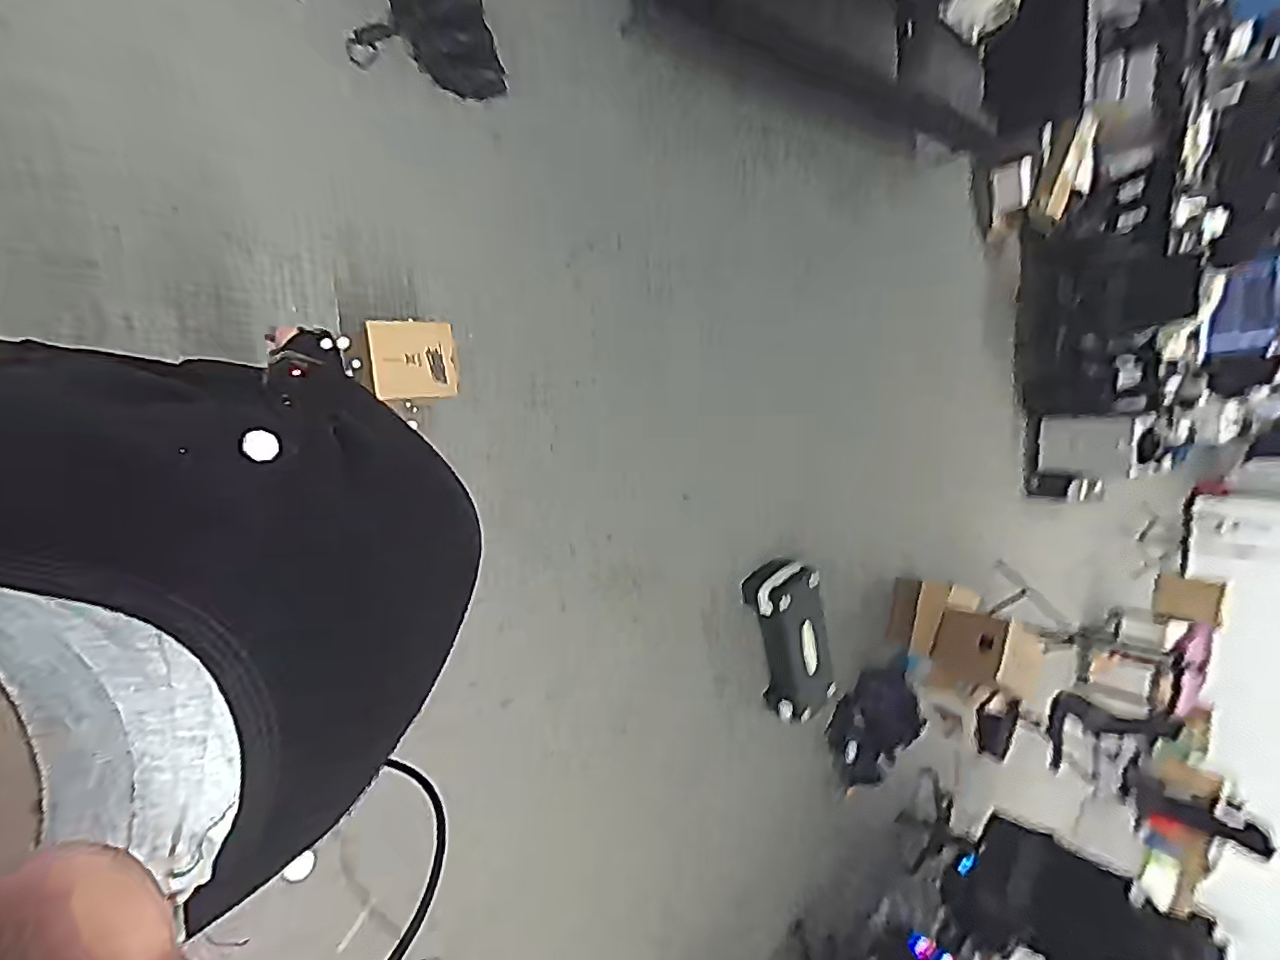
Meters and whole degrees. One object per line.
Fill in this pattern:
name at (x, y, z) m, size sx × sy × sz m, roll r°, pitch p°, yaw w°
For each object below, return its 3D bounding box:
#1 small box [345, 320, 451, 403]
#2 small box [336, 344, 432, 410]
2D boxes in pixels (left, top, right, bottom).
small box at (-0.555, -0.266, 1.237) m, size 0.179 × 0.176 × 0.168 m, roll -10°, pitch 99°, yaw -36°
small box at (-0.651, -0.268, 1.371) m, size 0.179 × 0.176 × 0.168 m, roll -11°, pitch 99°, yaw -35°
